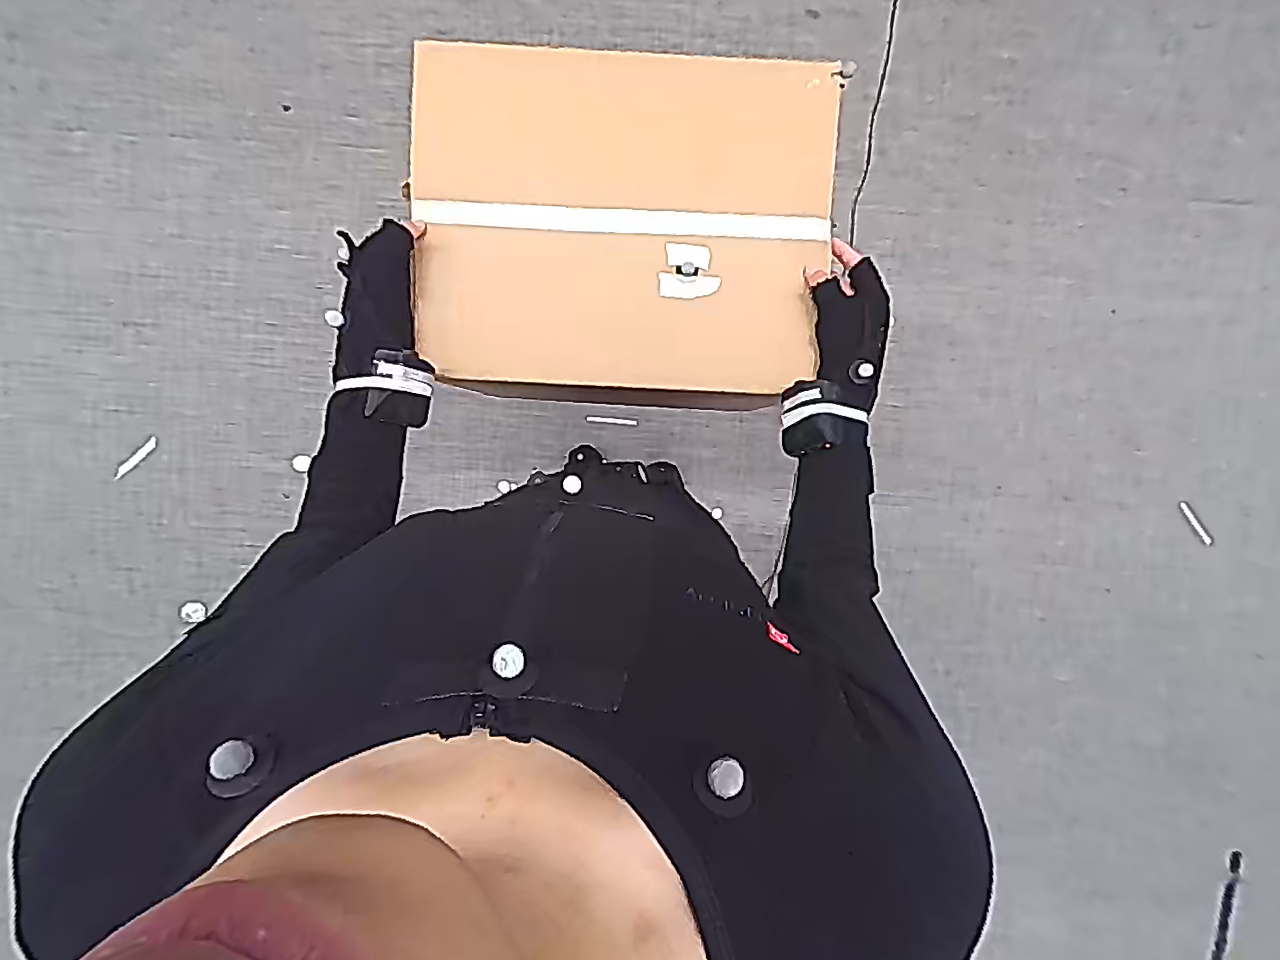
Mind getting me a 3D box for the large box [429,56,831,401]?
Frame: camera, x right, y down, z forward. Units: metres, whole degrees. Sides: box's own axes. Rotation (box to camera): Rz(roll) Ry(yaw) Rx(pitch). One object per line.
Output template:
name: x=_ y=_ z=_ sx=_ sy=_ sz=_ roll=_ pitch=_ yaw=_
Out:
large box: x=-0.016 y=-0.270 z=0.692 sx=0.408 sy=0.320 sz=0.320 roll=2 pitch=95 yaw=-1
